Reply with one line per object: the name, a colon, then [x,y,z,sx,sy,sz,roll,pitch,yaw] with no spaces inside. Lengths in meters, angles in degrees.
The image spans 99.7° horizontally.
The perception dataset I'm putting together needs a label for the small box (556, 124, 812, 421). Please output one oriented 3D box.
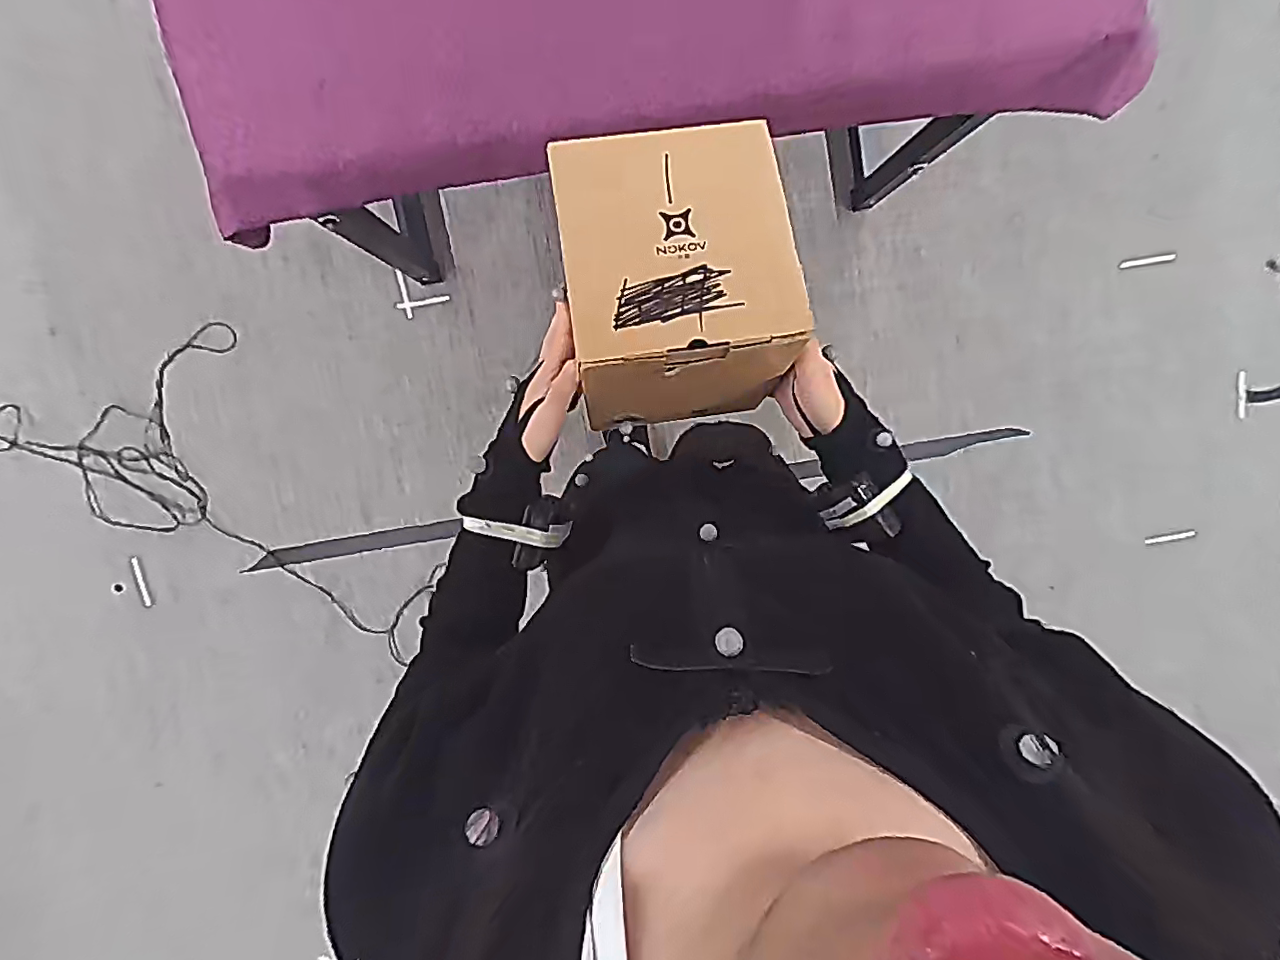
small box: [0.028,-0.157,0.464,0.168,0.176,0.179,-8,79,-4]
